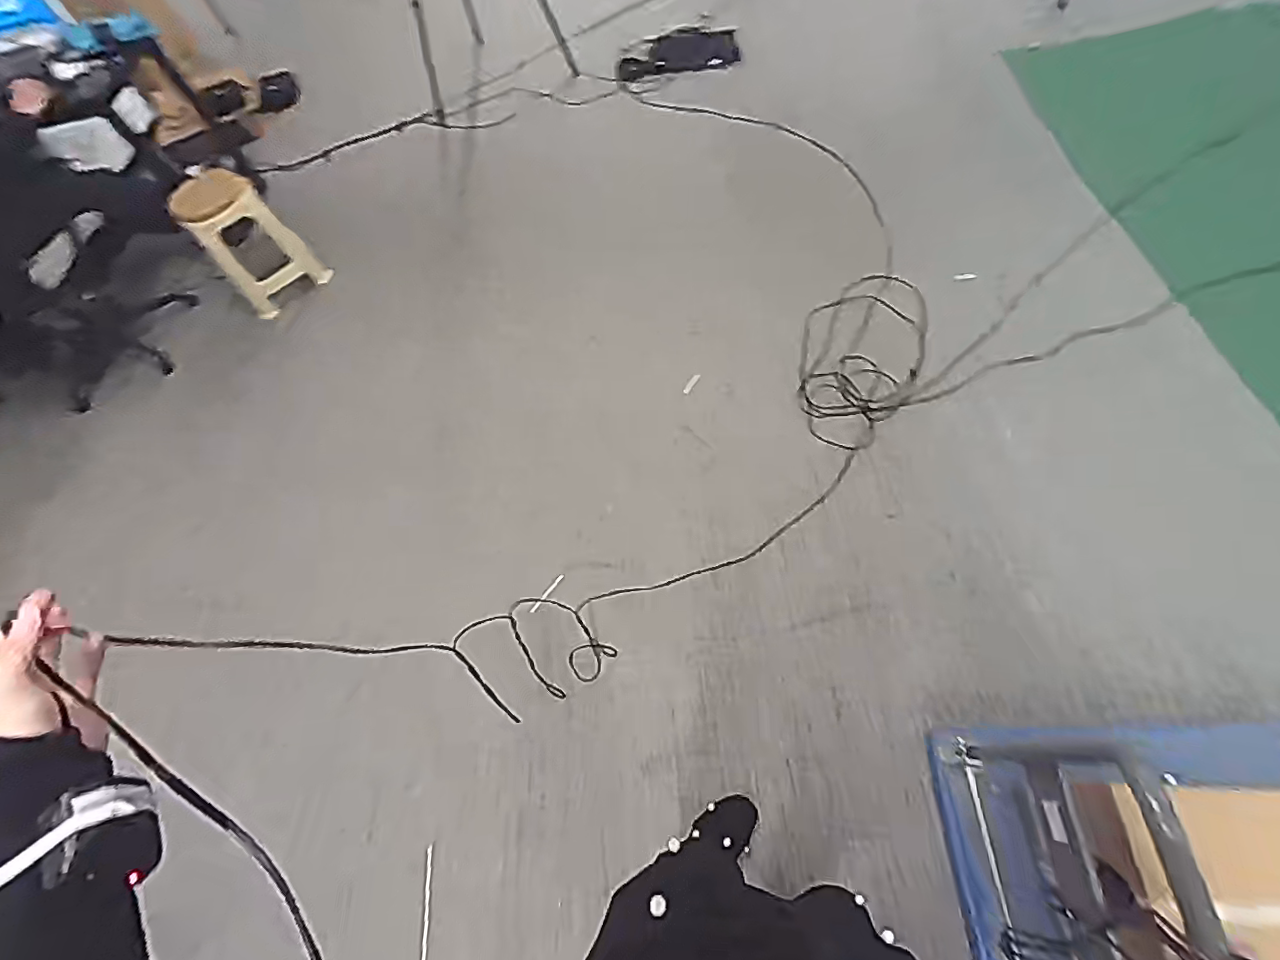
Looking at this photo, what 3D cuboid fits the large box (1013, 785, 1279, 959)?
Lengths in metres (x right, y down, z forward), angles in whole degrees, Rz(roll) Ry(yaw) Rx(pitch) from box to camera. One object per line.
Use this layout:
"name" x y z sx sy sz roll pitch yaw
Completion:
"large box" 0.952 0.697 0.911 0.408 0.320 0.320 -2 62 7
